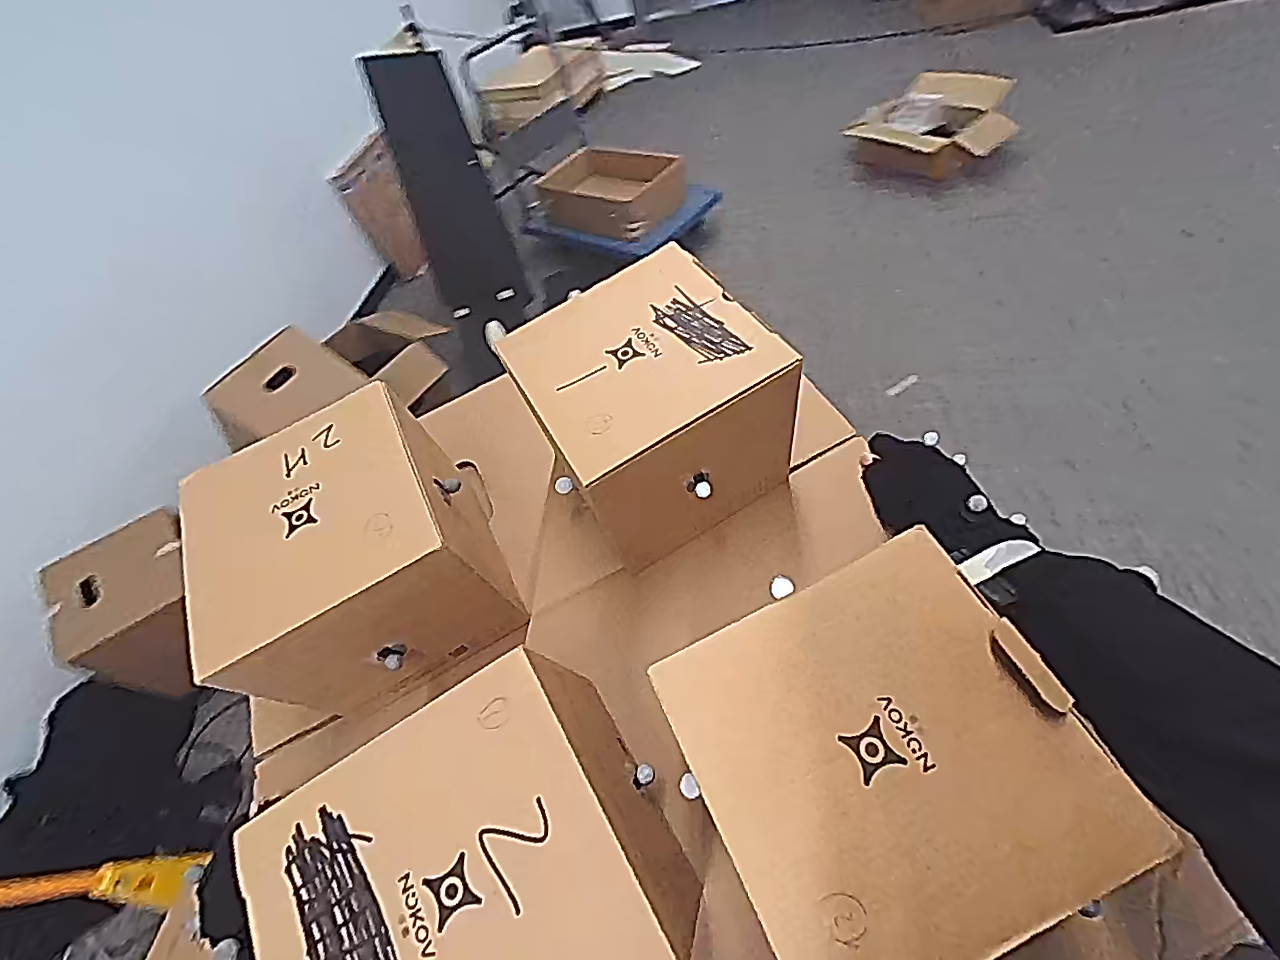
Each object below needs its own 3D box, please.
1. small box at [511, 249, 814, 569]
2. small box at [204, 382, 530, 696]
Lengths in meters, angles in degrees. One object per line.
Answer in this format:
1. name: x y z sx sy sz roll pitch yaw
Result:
1. small box: 0.022 -0.053 0.466 0.179 0.176 0.168 -30 59 -5
2. small box: -0.213 0.060 0.450 0.168 0.176 0.179 -28 58 -6
